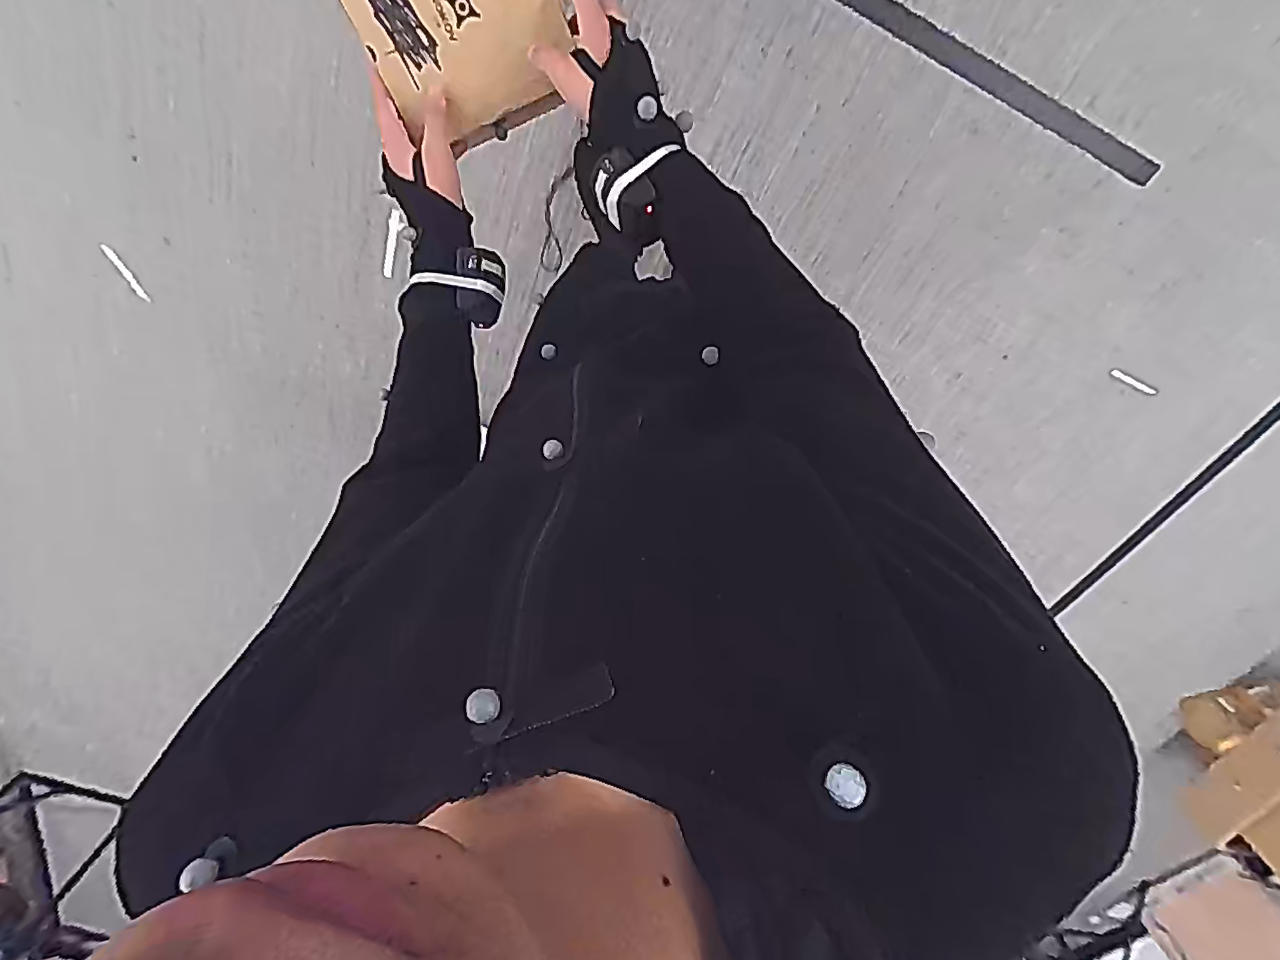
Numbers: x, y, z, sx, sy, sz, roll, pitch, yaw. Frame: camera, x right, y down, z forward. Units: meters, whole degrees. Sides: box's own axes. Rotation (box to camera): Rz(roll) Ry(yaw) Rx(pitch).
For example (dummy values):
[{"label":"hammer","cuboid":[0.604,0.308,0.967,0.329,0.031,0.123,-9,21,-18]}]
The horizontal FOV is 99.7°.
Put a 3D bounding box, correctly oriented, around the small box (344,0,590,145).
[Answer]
[{"label":"small box","cuboid":[-0.159,-0.448,0.528,0.179,0.176,0.168,-19,121,9]}]
